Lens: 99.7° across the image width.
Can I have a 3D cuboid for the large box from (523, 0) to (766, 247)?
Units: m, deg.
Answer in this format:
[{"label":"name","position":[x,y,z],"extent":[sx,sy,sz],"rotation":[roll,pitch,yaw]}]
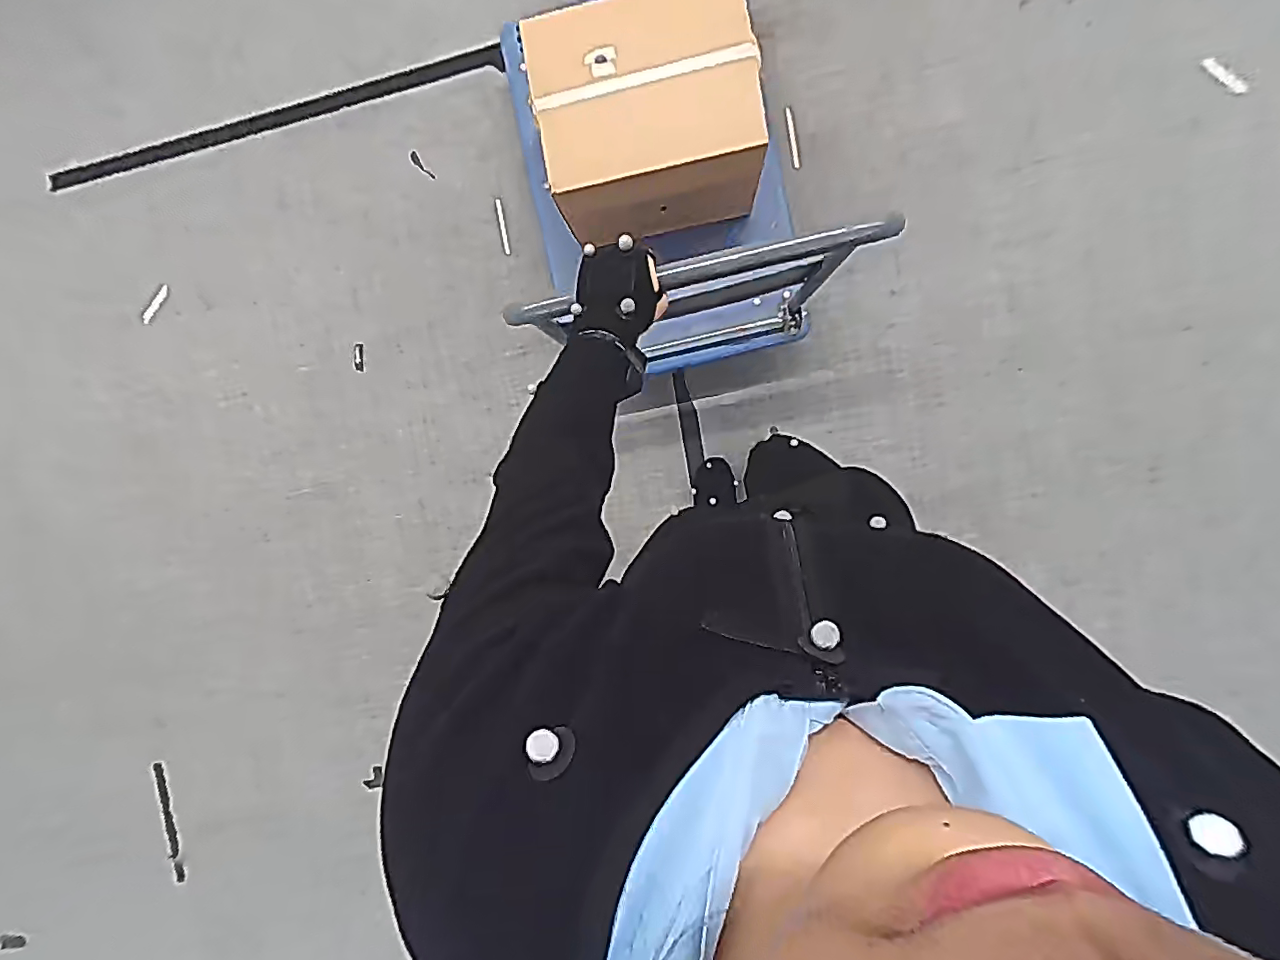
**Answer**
[{"label":"large box","position":[0.022,-0.732,1.129],"extent":[0.408,0.320,0.320],"rotation":[-10,92,7]}]
